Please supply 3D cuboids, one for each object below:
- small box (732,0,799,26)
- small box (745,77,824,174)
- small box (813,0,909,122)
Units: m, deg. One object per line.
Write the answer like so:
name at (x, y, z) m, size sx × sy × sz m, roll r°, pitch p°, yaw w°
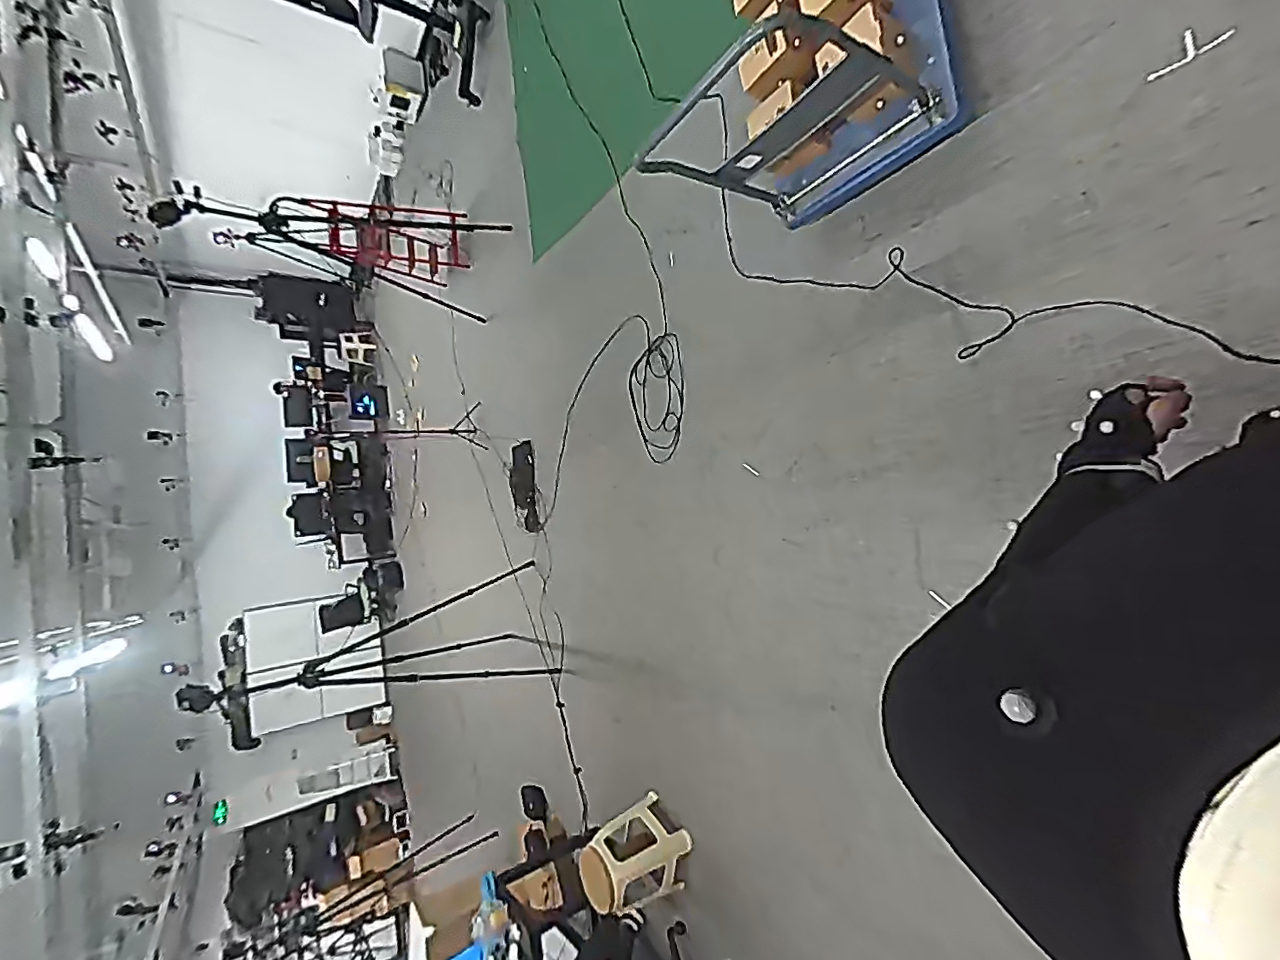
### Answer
small box at (0.400, -1.585, 1.699) m, size 0.168 × 0.176 × 0.179 m, roll -8°, pitch 88°, yaw 53°
small box at (0.454, -1.091, 1.681) m, size 0.179 × 0.176 × 0.168 m, roll -9°, pitch 86°, yaw 54°
small box at (0.606, -1.127, 1.470) m, size 0.179 × 0.176 × 0.168 m, roll -17°, pitch 81°, yaw 53°
